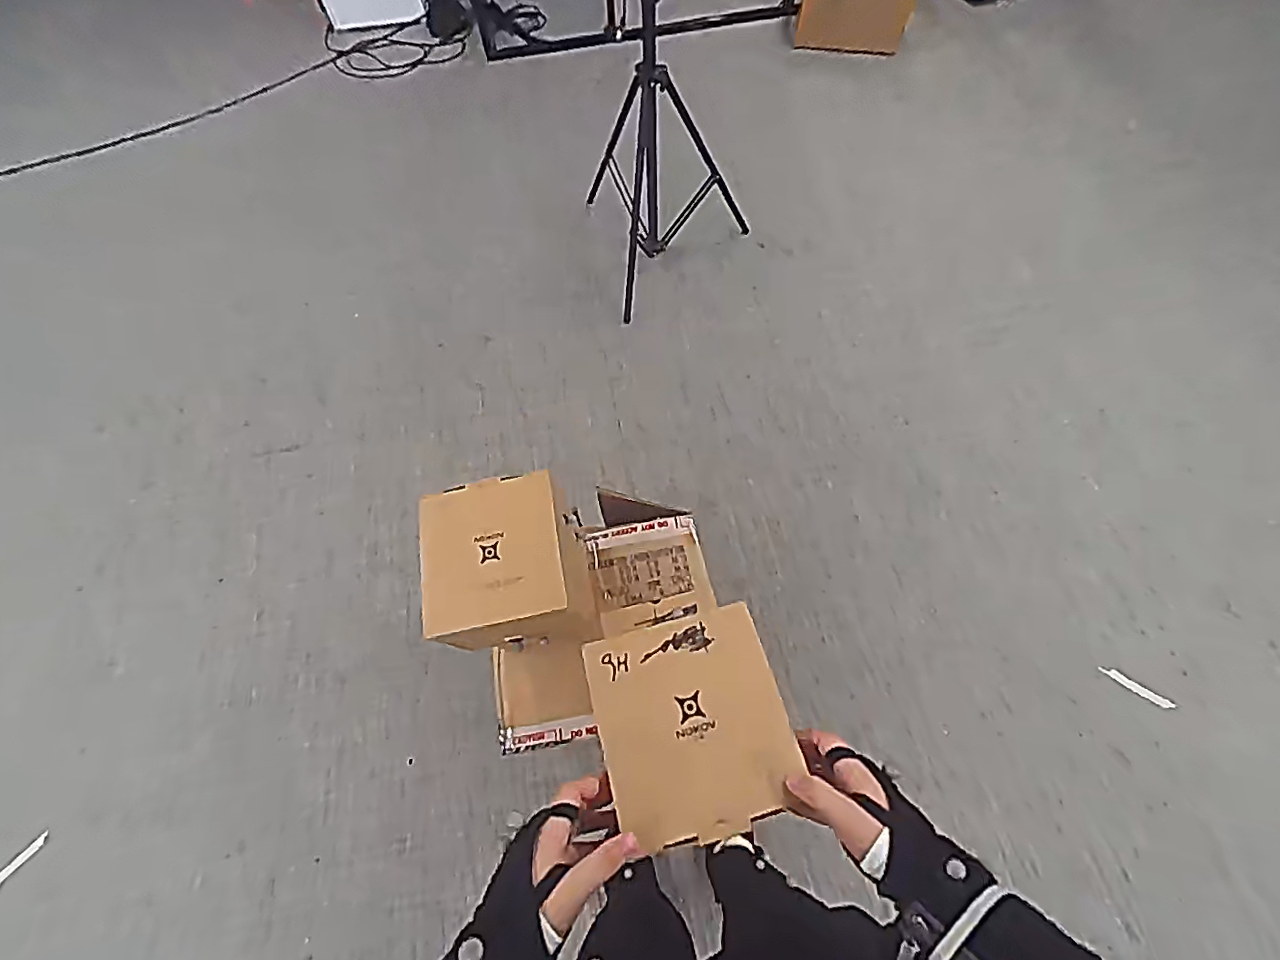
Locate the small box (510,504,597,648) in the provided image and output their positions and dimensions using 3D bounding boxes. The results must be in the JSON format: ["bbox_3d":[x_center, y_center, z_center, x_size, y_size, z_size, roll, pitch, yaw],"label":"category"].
[{"bbox_3d":[-0.170,0.159,0.865,0.168,0.176,0.179,-12,68,-1],"label":"small box"}]

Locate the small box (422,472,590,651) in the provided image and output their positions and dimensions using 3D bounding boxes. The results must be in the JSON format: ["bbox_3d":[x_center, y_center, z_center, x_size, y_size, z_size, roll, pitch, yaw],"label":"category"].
[{"bbox_3d":[-0.168,0.113,0.707,0.168,0.176,0.179,-12,68,-1],"label":"small box"}]

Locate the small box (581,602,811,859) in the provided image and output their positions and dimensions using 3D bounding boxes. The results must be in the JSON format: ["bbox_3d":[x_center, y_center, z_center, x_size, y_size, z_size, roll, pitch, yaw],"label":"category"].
[{"bbox_3d":[0.046,0.246,0.548,0.168,0.176,0.179,-14,63,-7],"label":"small box"}]

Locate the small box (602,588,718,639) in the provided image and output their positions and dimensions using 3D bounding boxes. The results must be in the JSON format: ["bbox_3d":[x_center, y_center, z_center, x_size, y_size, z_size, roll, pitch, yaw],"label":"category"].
[{"bbox_3d":[0.044,0.277,0.804,0.168,0.176,0.179,-13,68,-3],"label":"small box"}]
